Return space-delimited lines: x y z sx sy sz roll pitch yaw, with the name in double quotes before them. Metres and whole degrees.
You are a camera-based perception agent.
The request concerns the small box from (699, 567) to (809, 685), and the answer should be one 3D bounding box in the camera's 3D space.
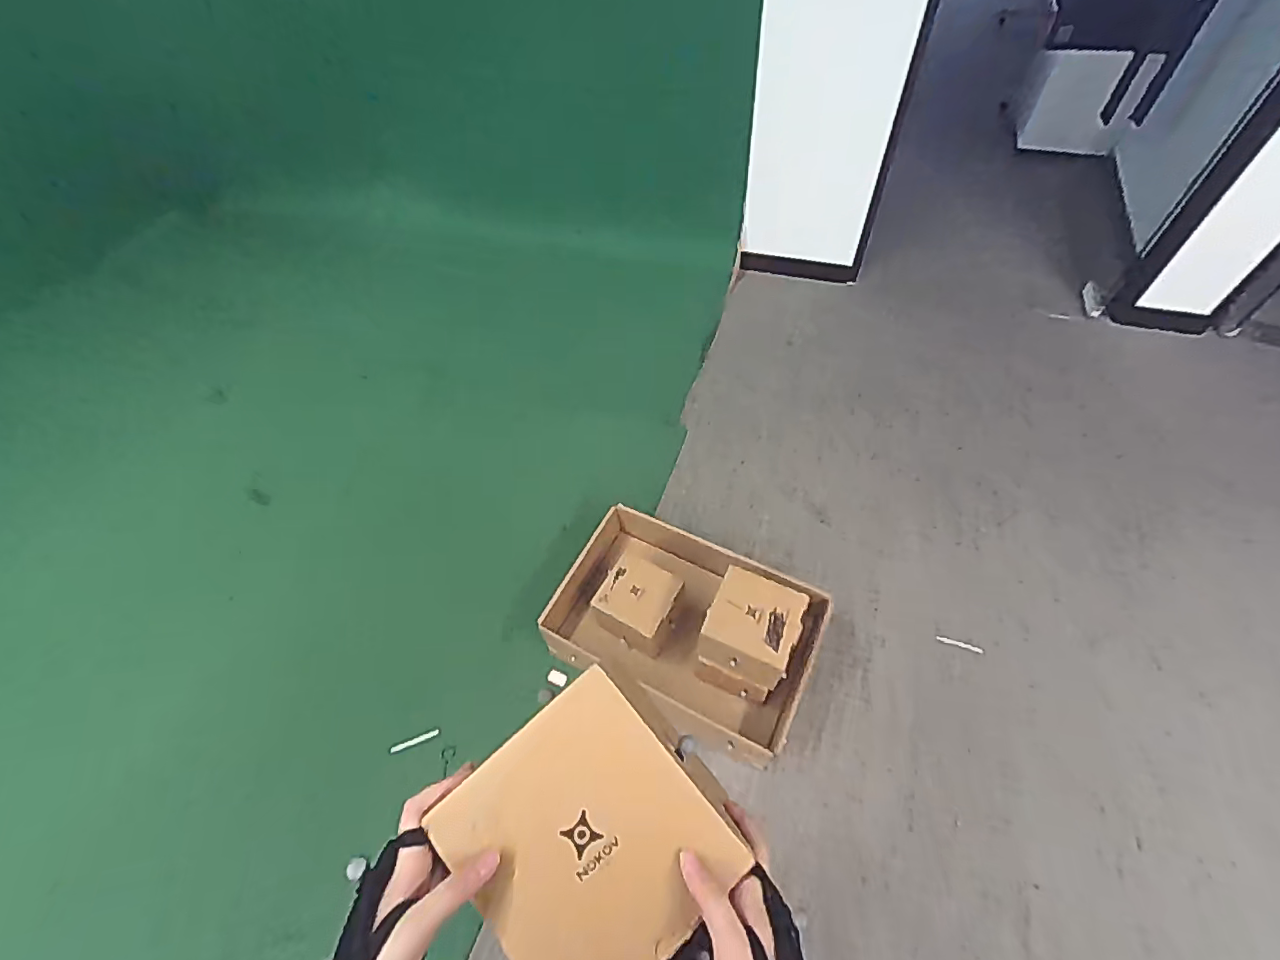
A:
"small box" 0.236 0.317 1.149 0.179 0.176 0.168 20 60 18
